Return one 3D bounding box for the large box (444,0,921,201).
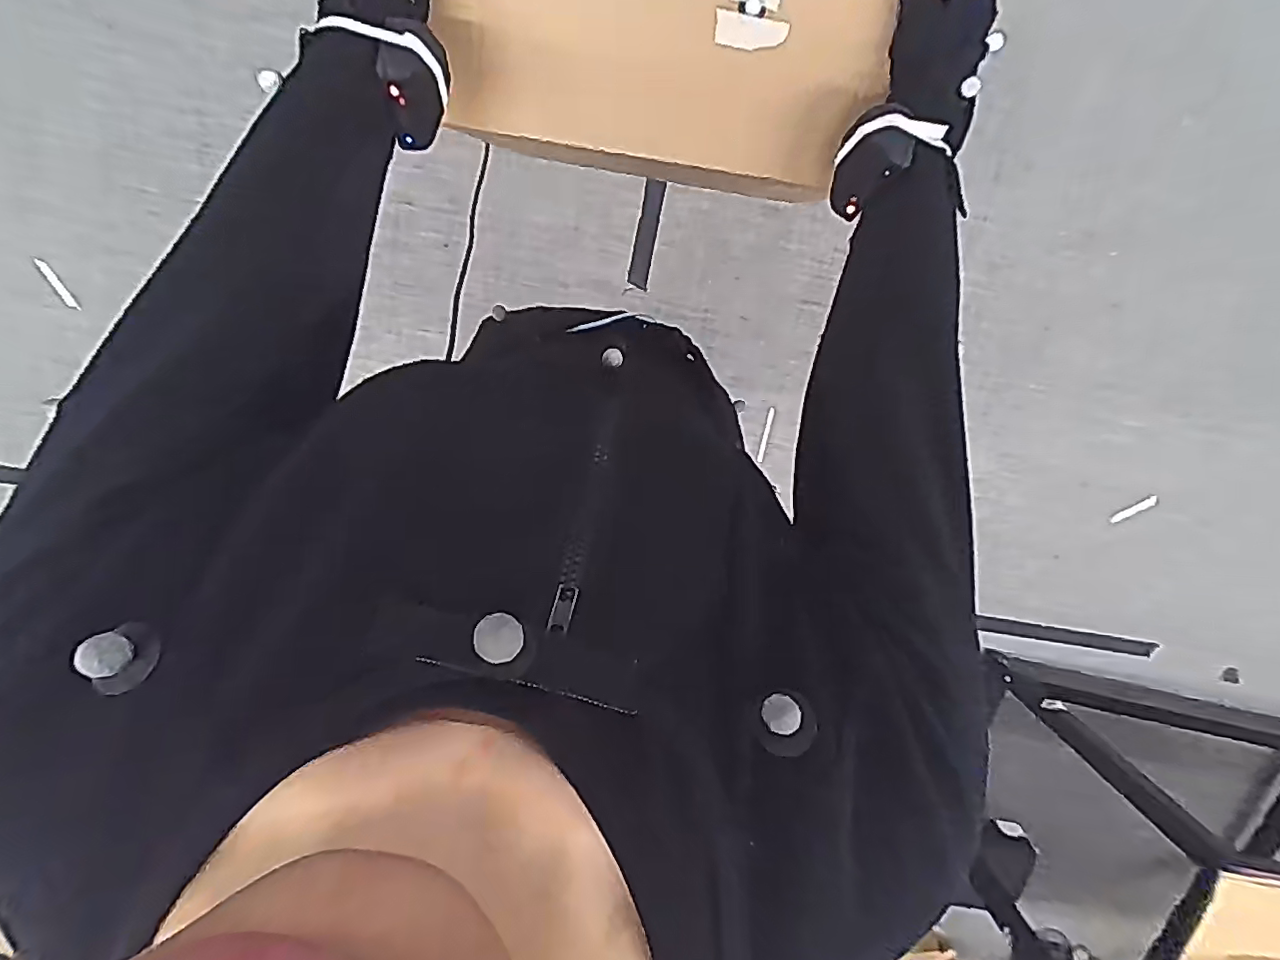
[{"bbox_3d":[0.042,-0.496,0.570,0.408,0.320,0.320,9,117,-1],"label":"large box"}]
